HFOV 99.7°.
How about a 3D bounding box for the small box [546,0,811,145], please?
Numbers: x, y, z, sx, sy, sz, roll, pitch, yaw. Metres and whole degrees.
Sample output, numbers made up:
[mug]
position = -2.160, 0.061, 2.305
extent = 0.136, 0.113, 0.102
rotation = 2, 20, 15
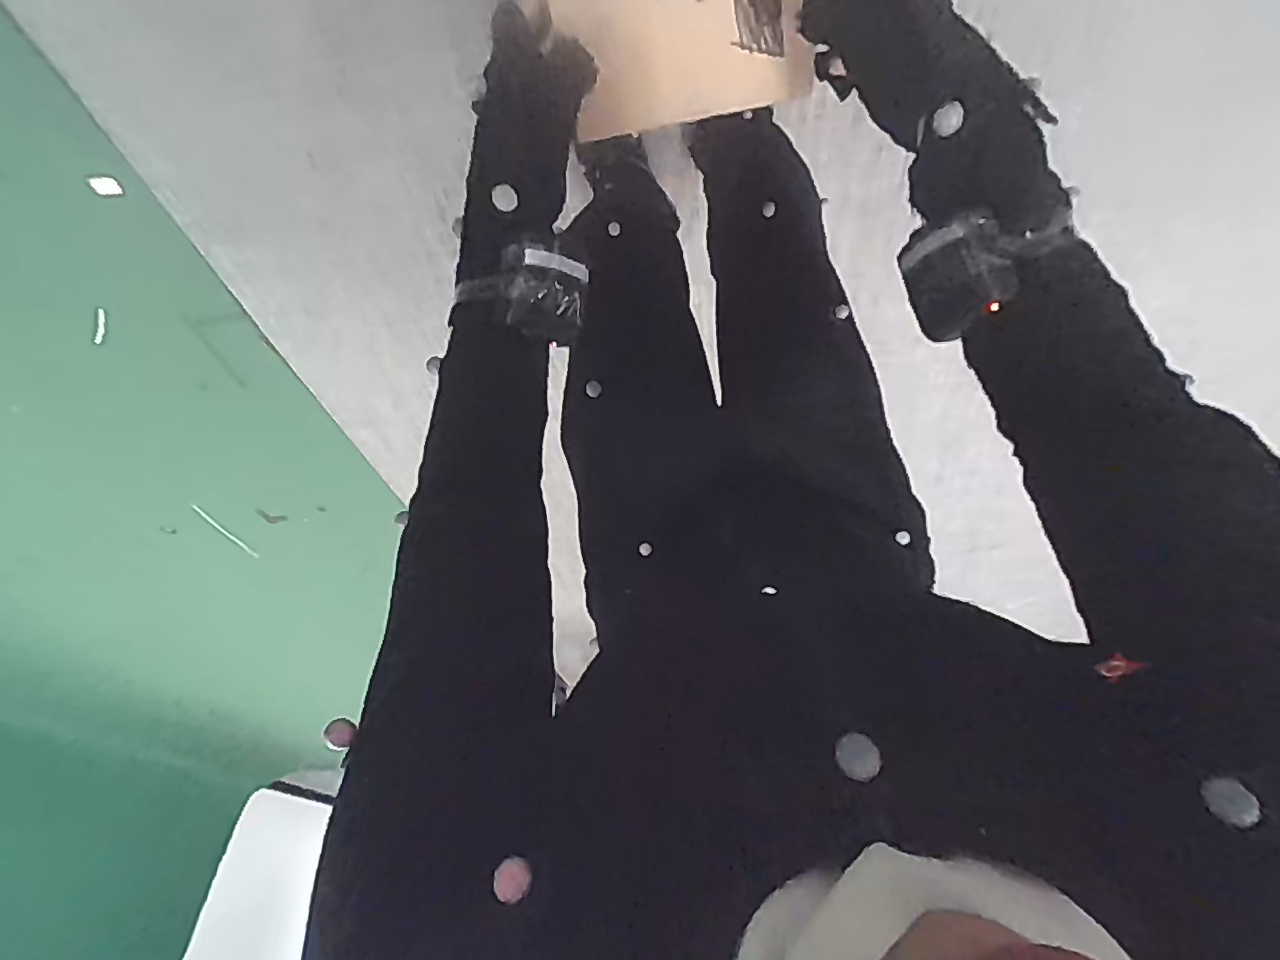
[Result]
[small box]
position = 0.020, -0.381, 0.401
extent = 0.179, 0.176, 0.168
rotation = -7, 138, 5
